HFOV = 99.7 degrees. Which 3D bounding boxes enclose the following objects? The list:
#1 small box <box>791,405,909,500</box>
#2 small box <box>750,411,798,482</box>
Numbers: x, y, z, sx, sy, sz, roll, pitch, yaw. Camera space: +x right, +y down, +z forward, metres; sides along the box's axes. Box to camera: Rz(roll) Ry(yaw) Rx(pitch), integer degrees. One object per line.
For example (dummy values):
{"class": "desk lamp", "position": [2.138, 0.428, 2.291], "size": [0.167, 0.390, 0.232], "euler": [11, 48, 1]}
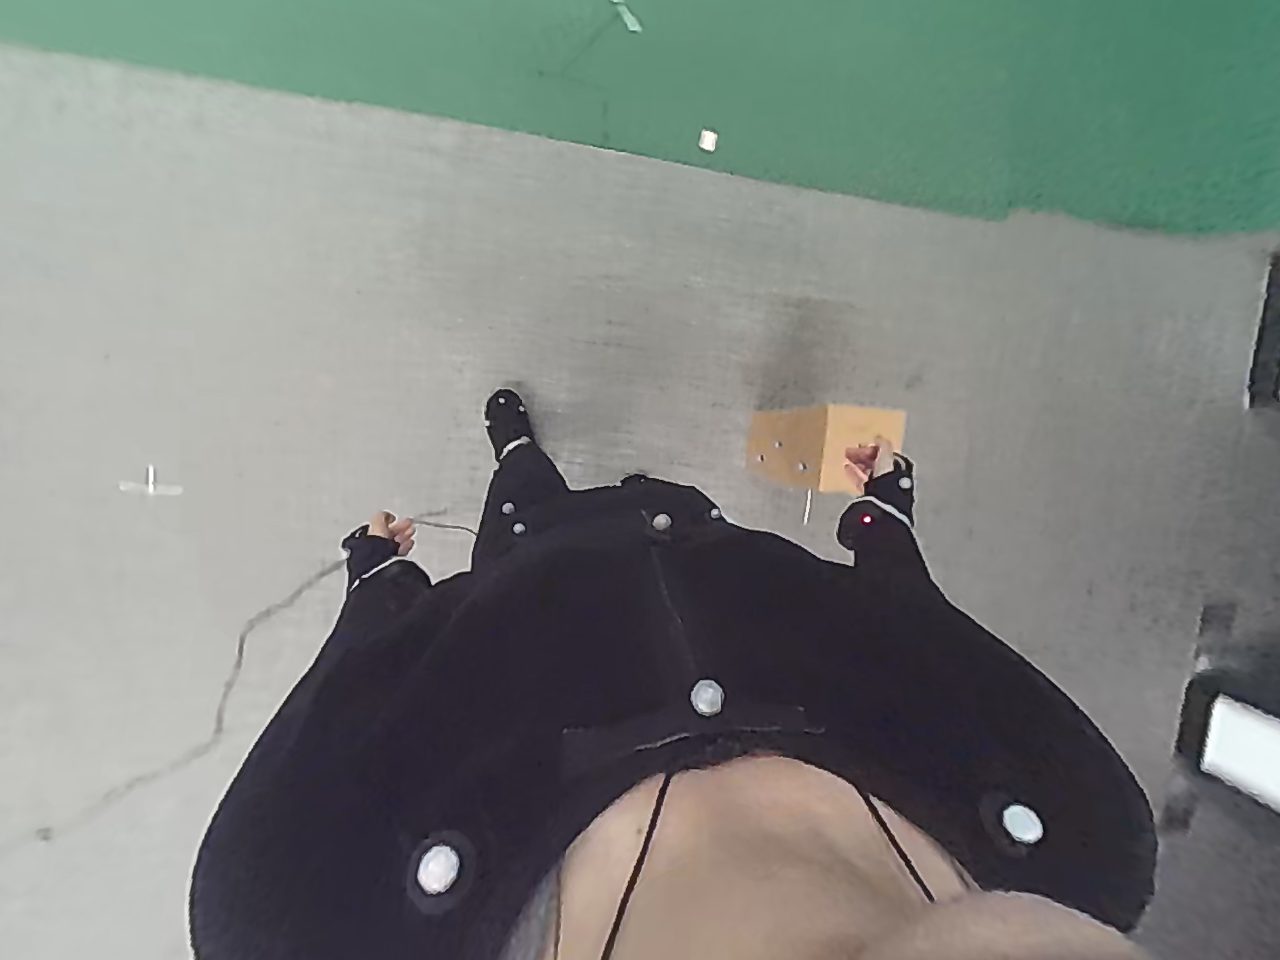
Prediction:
{"class": "small box", "position": [0.432, -0.060, 1.142], "size": [0.168, 0.176, 0.179], "euler": [5, 94, -8]}
{"class": "small box", "position": [0.406, -0.088, 1.468], "size": [0.168, 0.176, 0.179], "euler": [6, 94, -7]}
